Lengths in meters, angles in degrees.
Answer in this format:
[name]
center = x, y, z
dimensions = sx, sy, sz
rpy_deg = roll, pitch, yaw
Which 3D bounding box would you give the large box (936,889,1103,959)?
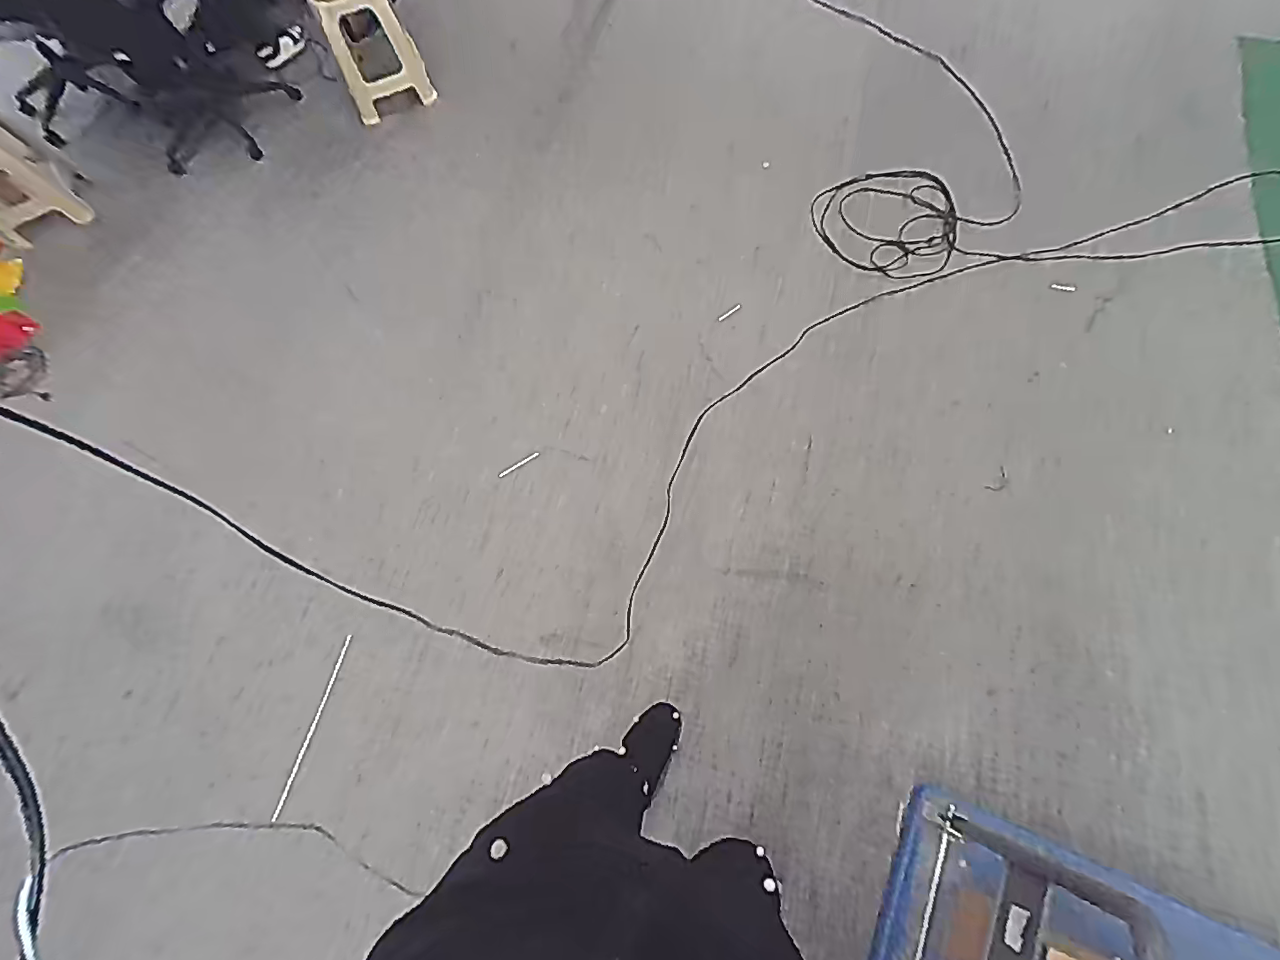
[large box]
center = 0.729, 0.951, 0.855
dimensions = 0.408, 0.320, 0.320
rpy_deg = 21, 72, 13
